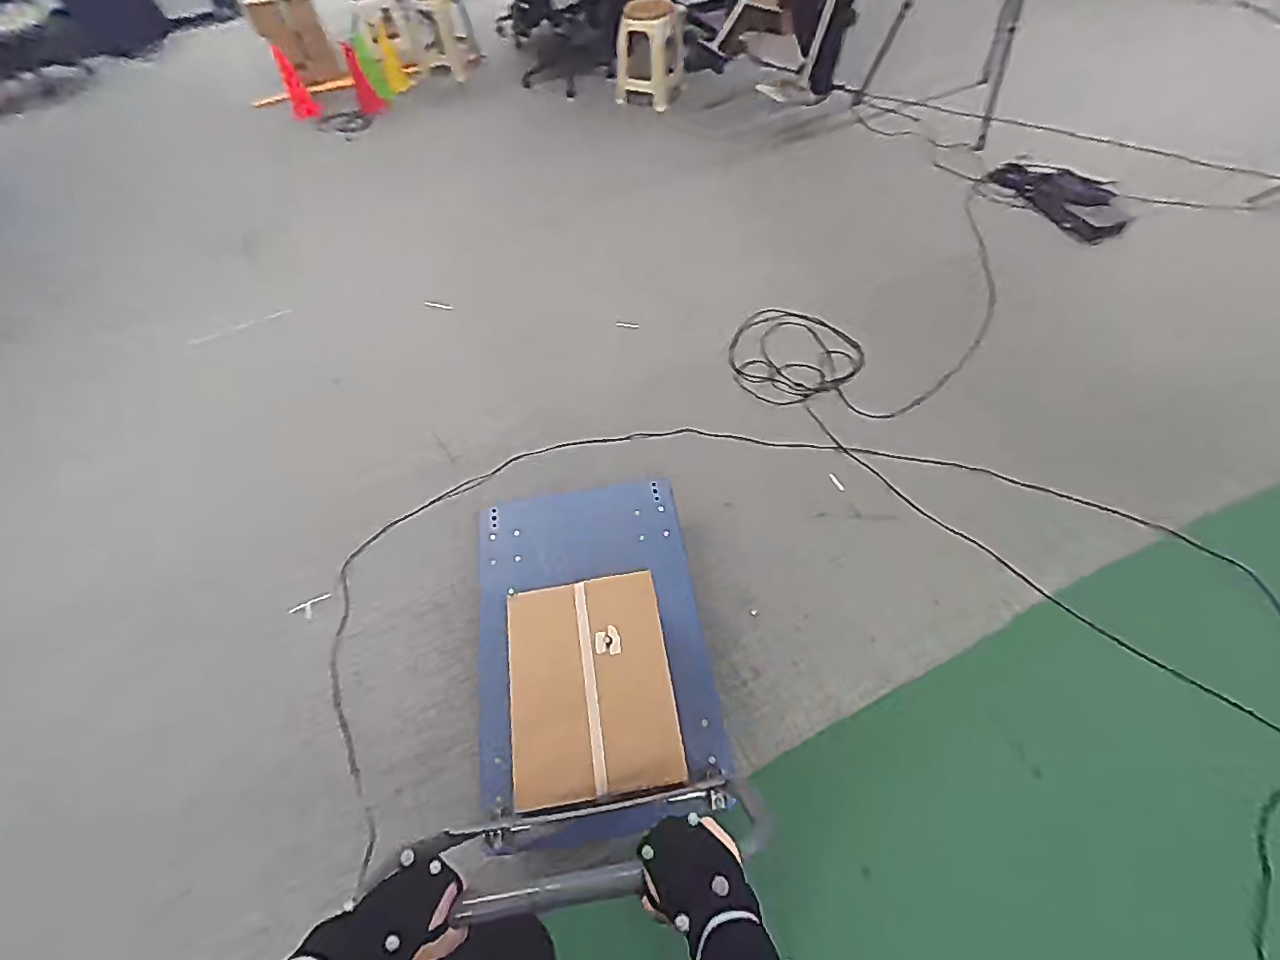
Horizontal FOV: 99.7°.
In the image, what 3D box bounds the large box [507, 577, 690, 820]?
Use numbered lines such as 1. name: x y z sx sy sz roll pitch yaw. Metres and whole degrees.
1. large box: -0.087 0.477 1.178 0.320 0.320 0.408 -10 58 -3
